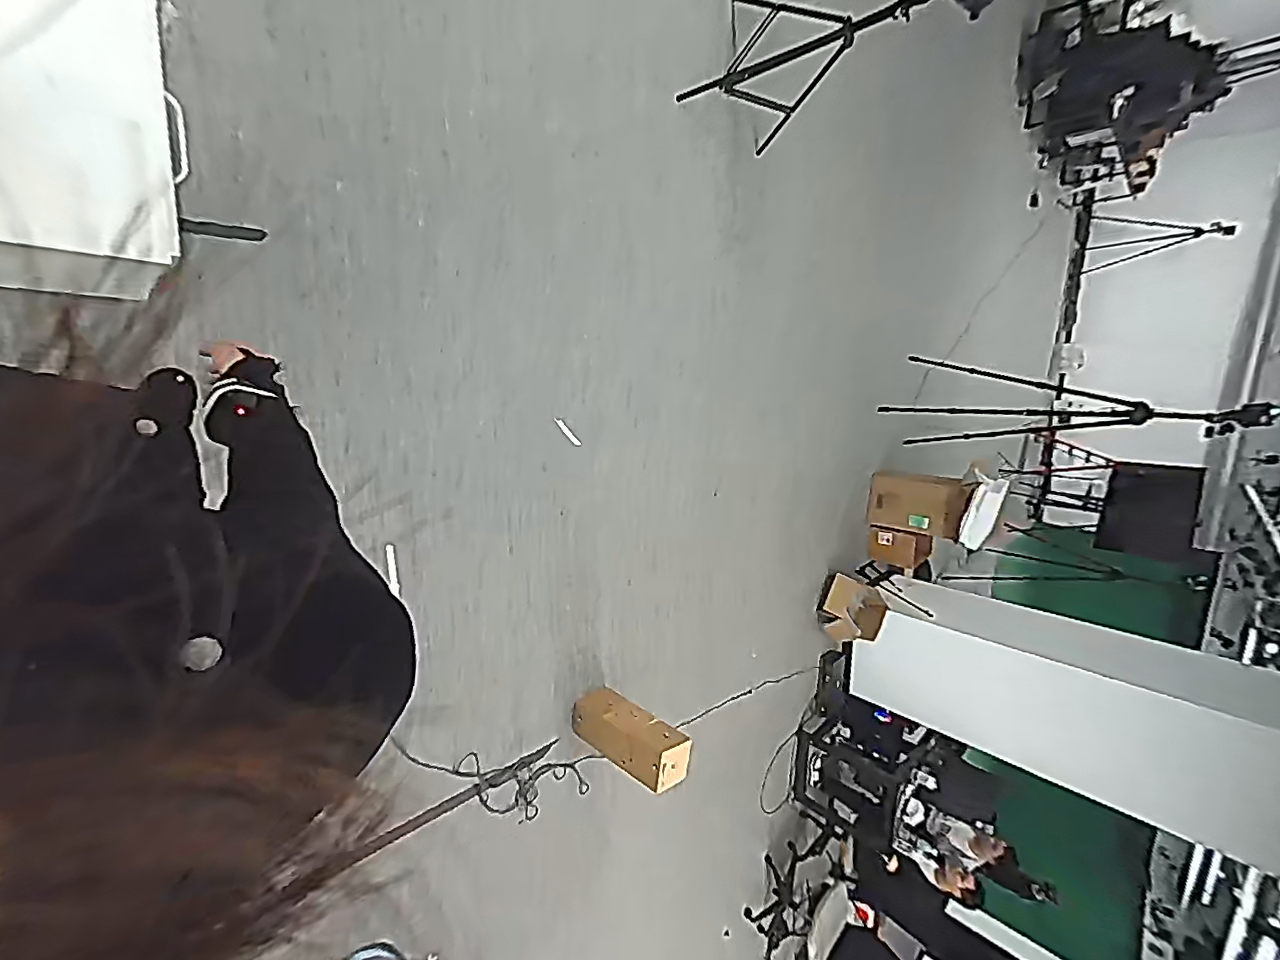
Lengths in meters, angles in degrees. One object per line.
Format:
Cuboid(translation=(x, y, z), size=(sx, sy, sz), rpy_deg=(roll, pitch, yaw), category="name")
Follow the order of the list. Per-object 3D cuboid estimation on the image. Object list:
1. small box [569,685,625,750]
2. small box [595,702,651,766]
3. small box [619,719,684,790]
Cuboid(translation=(-0.187, 1.016, 2.333), size=(0.179, 0.176, 0.168), rpy_deg=(-9, 105, -45), category="small box")
Cuboid(translation=(-0.071, 1.039, 2.222), size=(0.168, 0.176, 0.179), rpy_deg=(-7, 103, -46), category="small box")
Cuboid(translation=(0.046, 1.061, 2.108), size=(0.179, 0.176, 0.168), rpy_deg=(3, 96, -48), category="small box")
